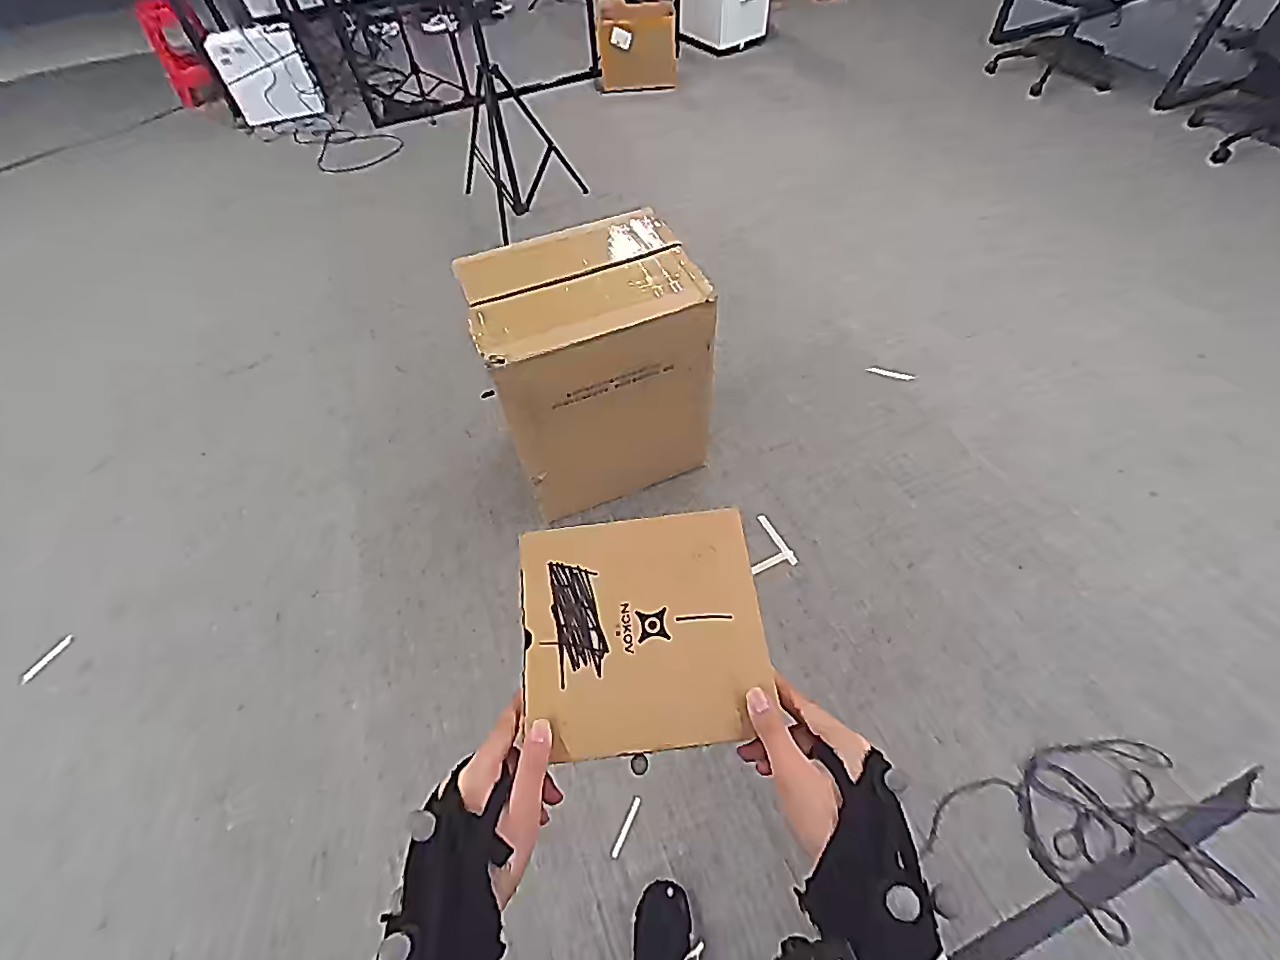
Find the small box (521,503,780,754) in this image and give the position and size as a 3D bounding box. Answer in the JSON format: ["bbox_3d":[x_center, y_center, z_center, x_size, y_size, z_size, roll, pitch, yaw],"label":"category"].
[{"bbox_3d":[0.004,0.135,0.463,0.179,0.176,0.168,-6,63,-1],"label":"small box"}]
